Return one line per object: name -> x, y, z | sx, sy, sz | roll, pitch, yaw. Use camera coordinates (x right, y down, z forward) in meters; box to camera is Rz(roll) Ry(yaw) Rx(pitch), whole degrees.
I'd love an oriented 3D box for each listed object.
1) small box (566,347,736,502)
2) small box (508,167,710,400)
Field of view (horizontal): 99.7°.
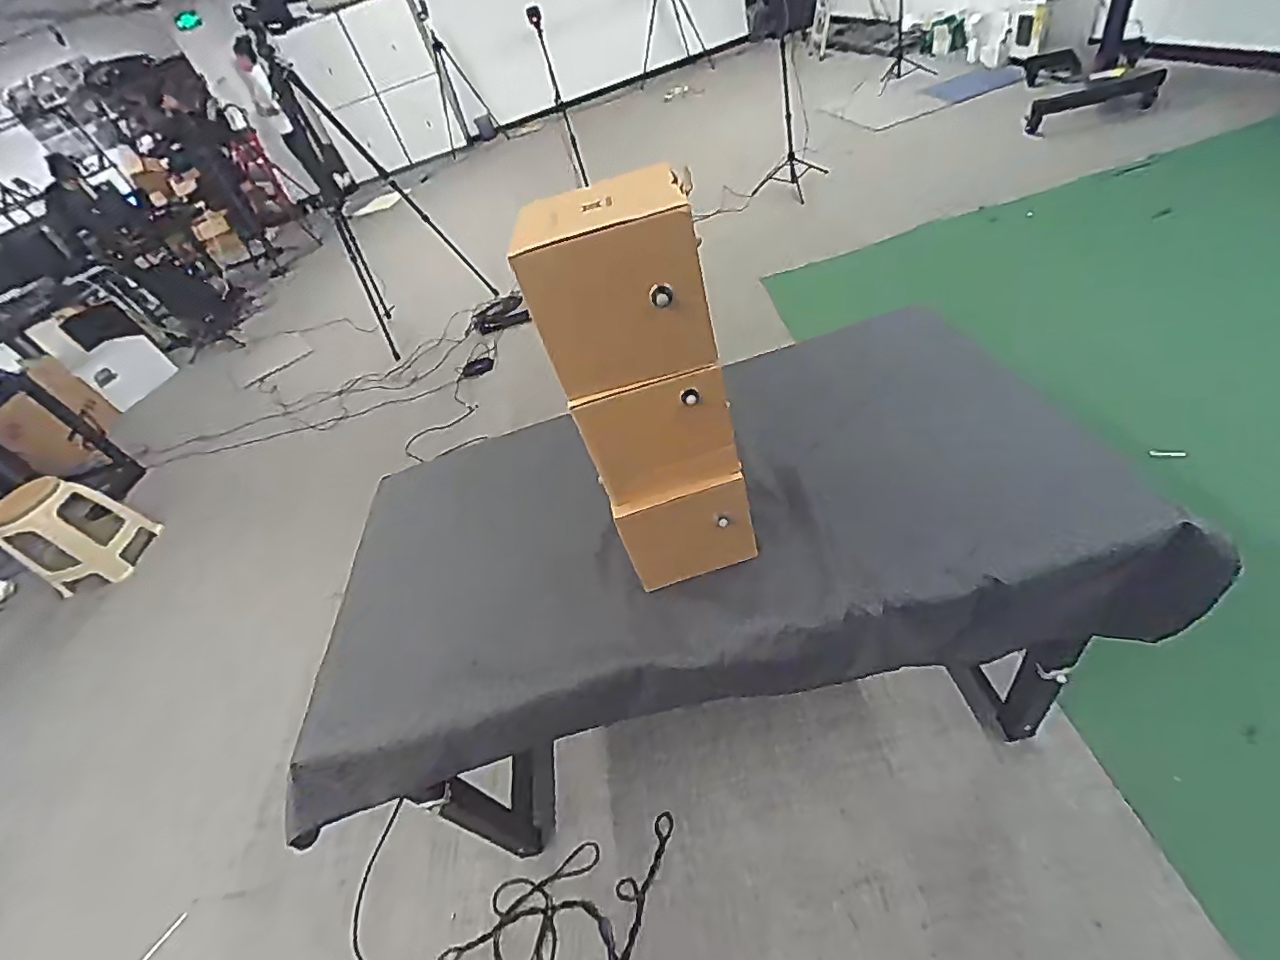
small box -> 0.012, -0.094, 0.703 | 0.179, 0.176, 0.168 | -16, 41, 4
small box -> -0.025, -0.214, 0.599 | 0.179, 0.176, 0.168 | -15, 40, 6
